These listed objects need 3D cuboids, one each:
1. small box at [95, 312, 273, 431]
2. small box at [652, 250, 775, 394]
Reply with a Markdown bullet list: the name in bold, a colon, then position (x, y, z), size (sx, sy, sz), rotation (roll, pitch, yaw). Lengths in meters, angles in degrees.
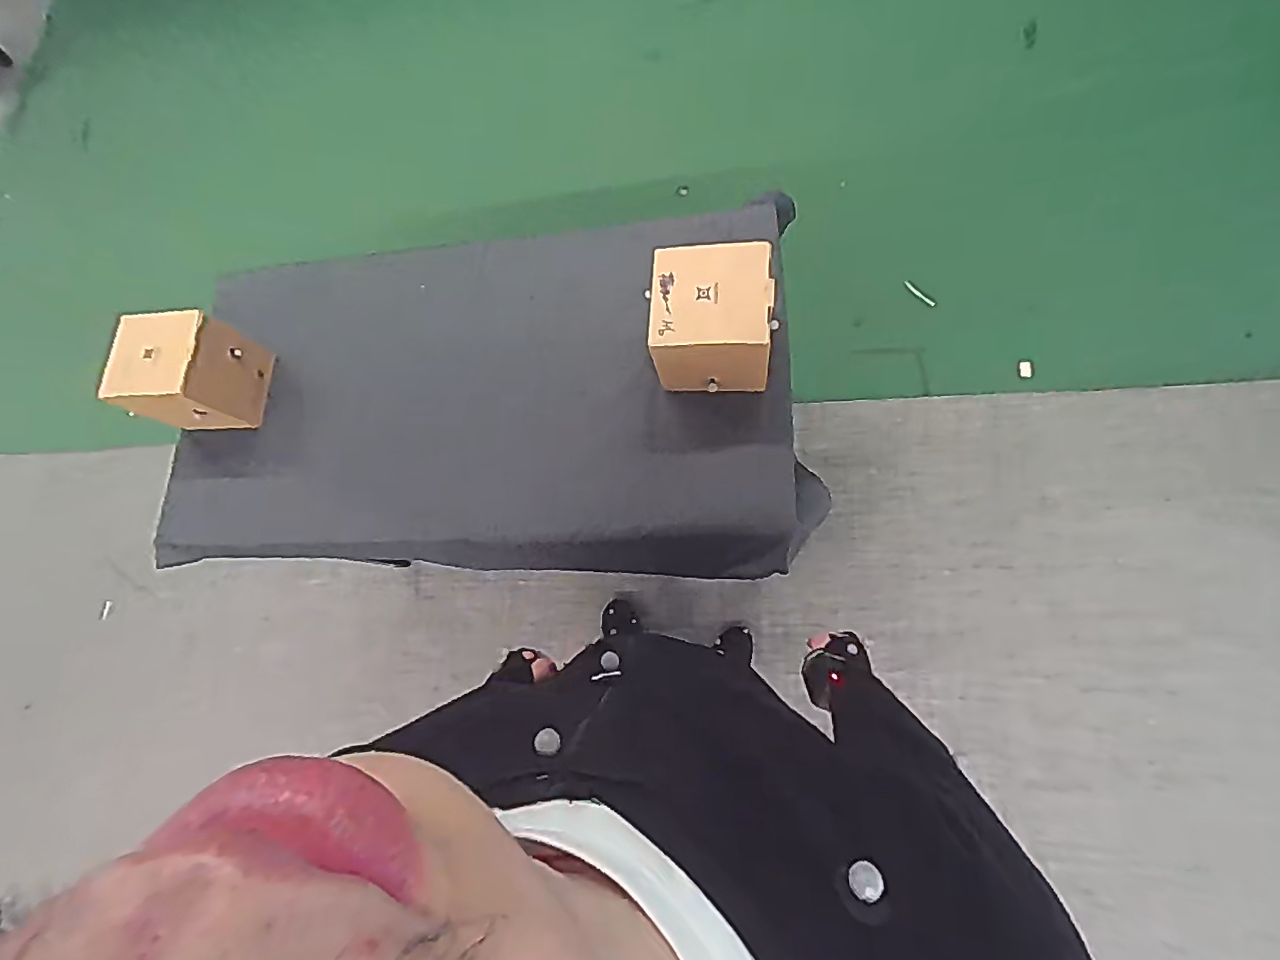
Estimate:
- **small box**: position (-0.846, -0.199, 1.024), size (0.179, 0.176, 0.168), rotation (1, 73, 10)
- **small box**: position (0.121, -0.247, 0.874), size (0.179, 0.176, 0.168), rotation (2, 76, 11)
